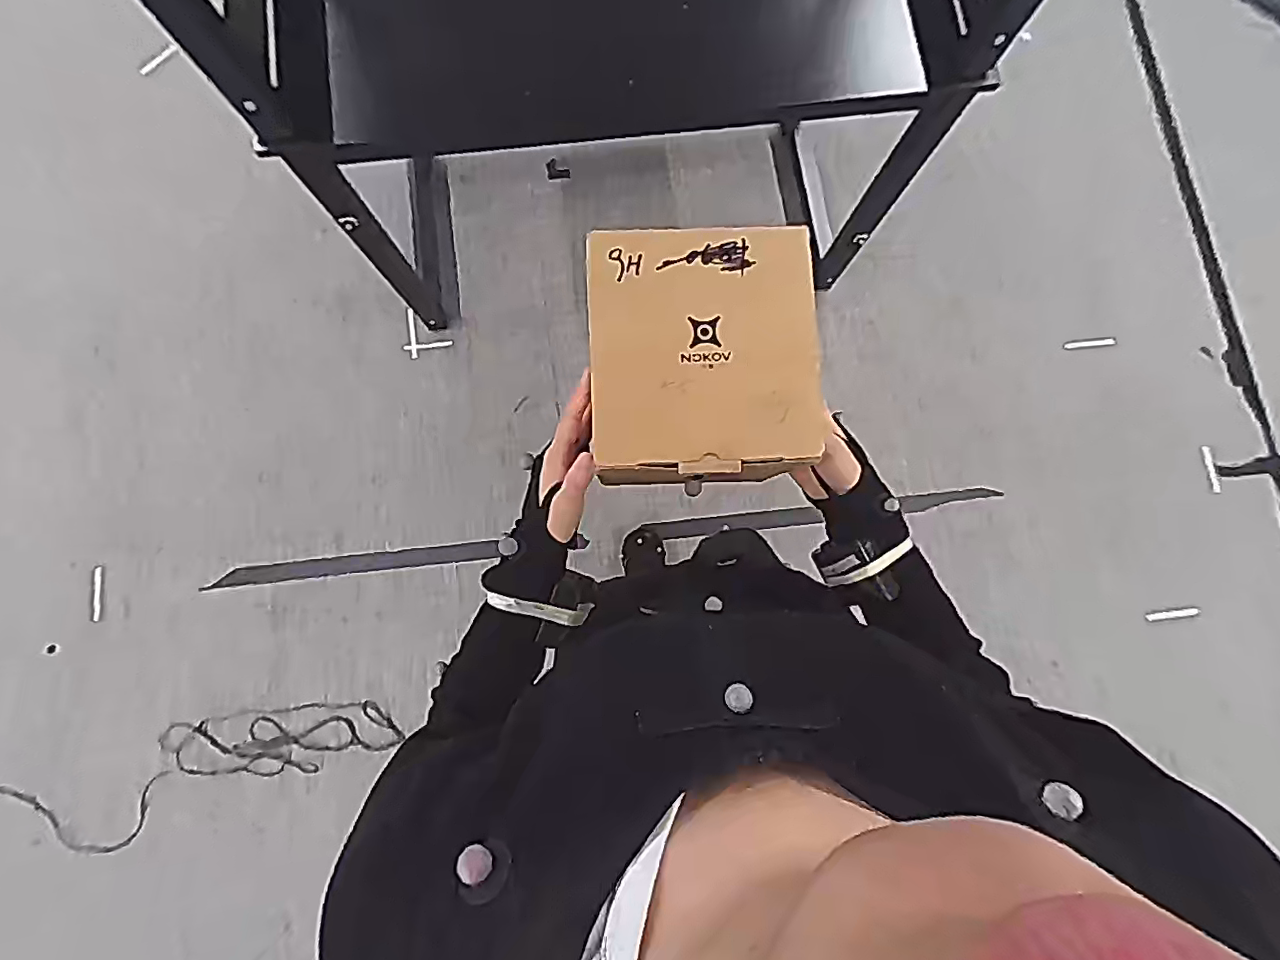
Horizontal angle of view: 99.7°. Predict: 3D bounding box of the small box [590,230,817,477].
[{"bbox_3d":[0.043,-0.093,0.473,0.168,0.176,0.179,-2,86,-3],"label":"small box"}]
